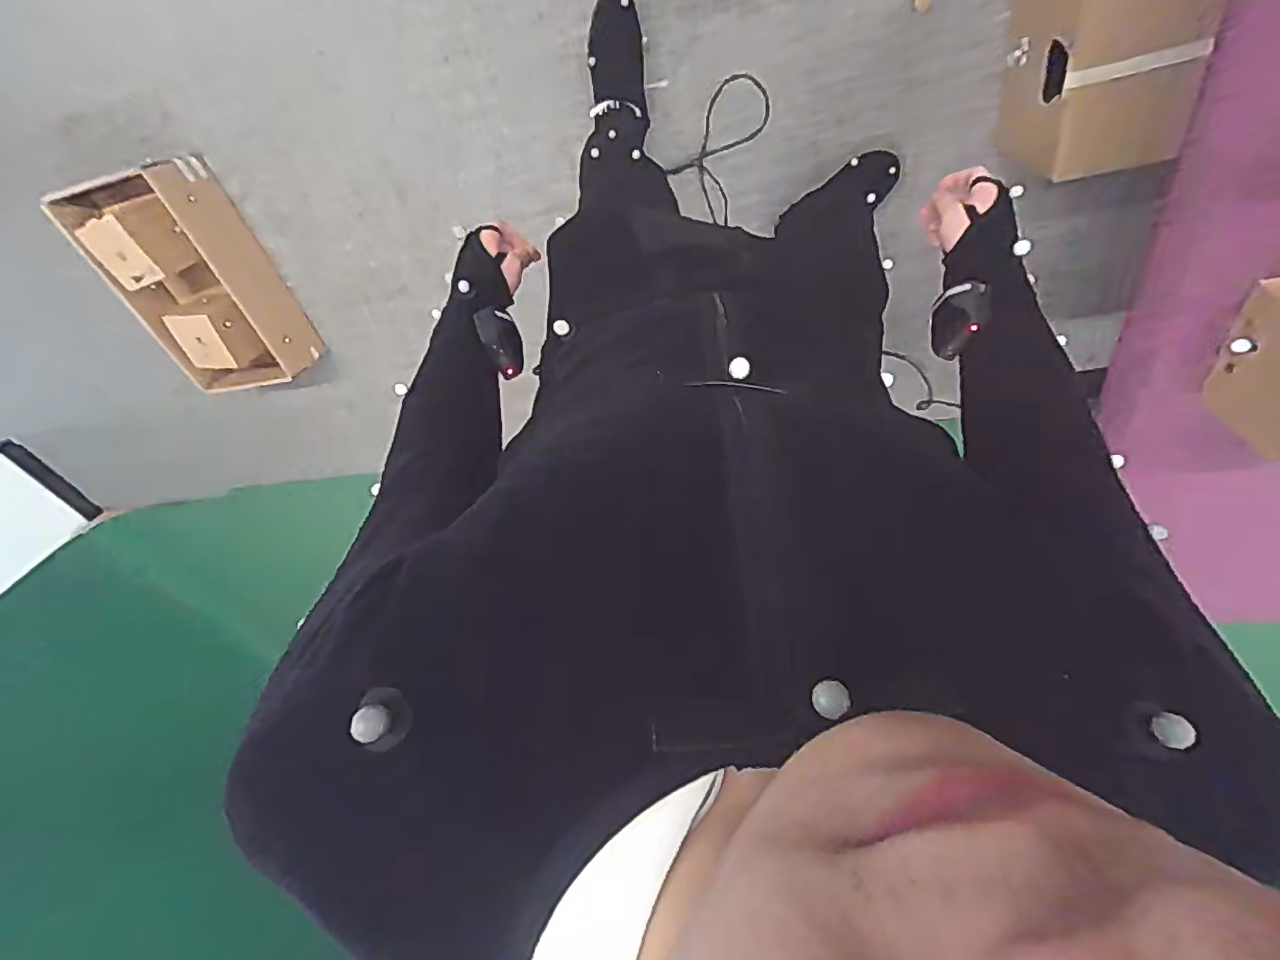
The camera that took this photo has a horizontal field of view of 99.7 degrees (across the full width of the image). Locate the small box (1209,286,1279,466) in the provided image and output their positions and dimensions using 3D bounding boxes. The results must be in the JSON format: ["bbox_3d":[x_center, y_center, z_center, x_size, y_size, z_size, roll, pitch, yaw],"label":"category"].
[{"bbox_3d":[0.803,-0.119,0.586,0.179,0.176,0.168,-5,129,16],"label":"small box"}]

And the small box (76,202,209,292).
[{"bbox_3d":[-1.393,-0.662,1.526,0.168,0.176,0.179,-8,130,19],"label":"small box"}]

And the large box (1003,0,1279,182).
[{"bbox_3d":[0.896,-0.749,0.900,0.408,0.320,0.320,-6,130,16],"label":"large box"}]
